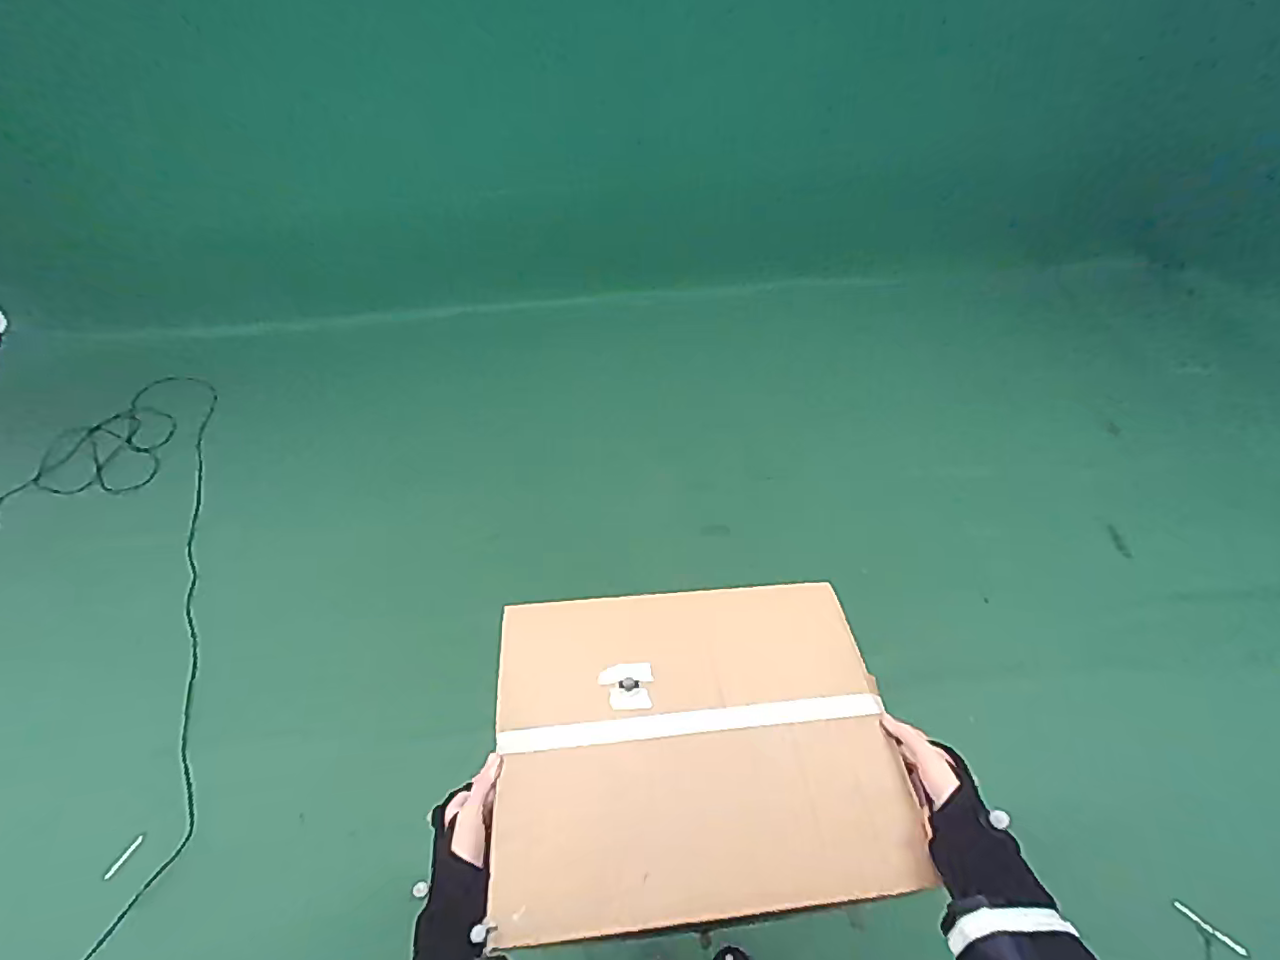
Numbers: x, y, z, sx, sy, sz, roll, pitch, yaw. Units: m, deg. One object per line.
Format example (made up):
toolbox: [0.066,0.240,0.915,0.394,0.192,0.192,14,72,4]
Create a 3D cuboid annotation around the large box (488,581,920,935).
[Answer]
large box: [0.047,0.353,0.690,0.408,0.320,0.320,-3,49,-5]
